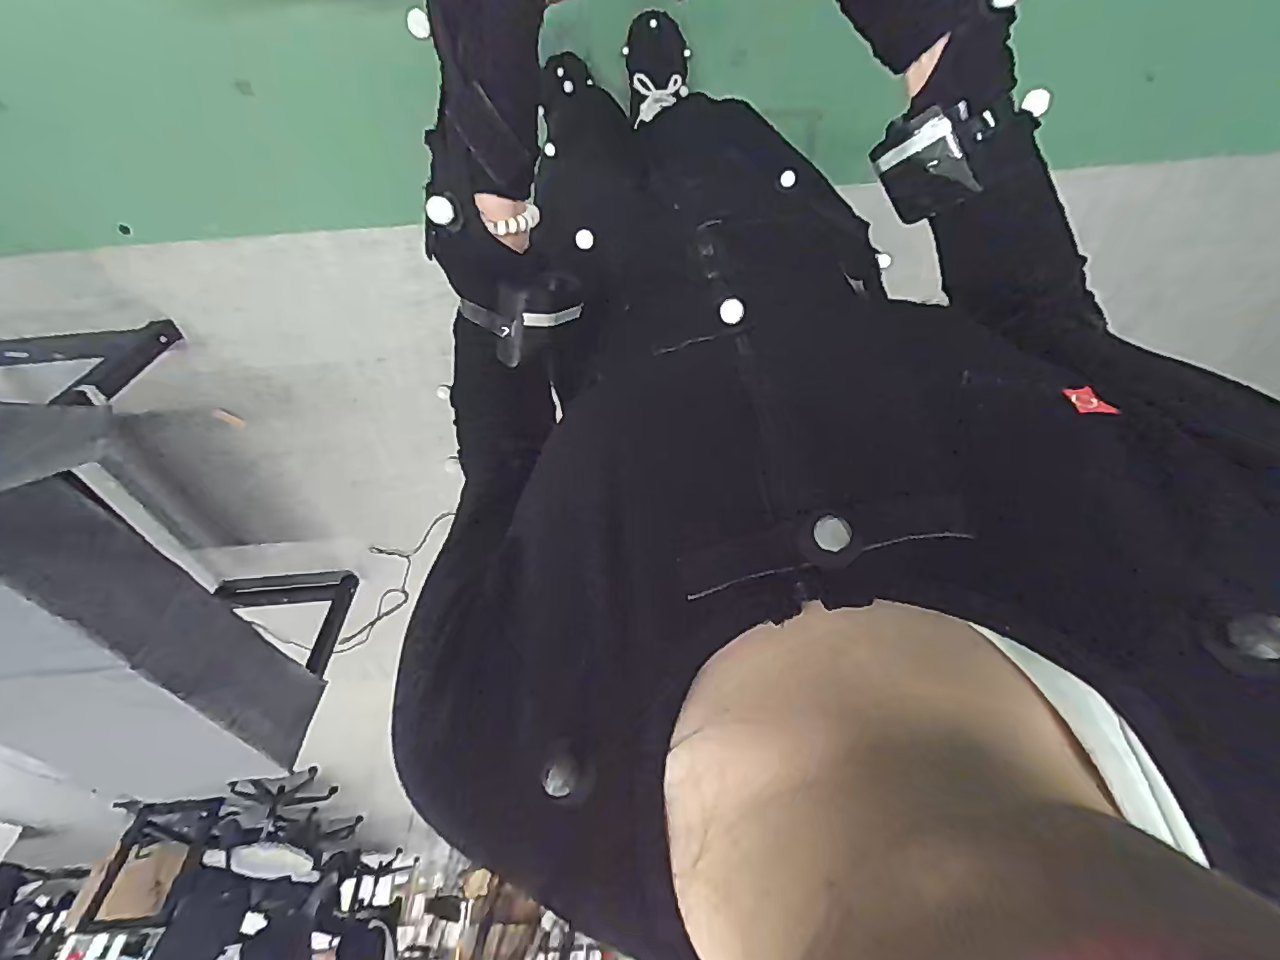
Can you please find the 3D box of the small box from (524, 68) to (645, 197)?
[{"bbox_3d":[-0.117,-0.701,1.089,0.179,0.176,0.168,30,132,1],"label":"small box"}]
